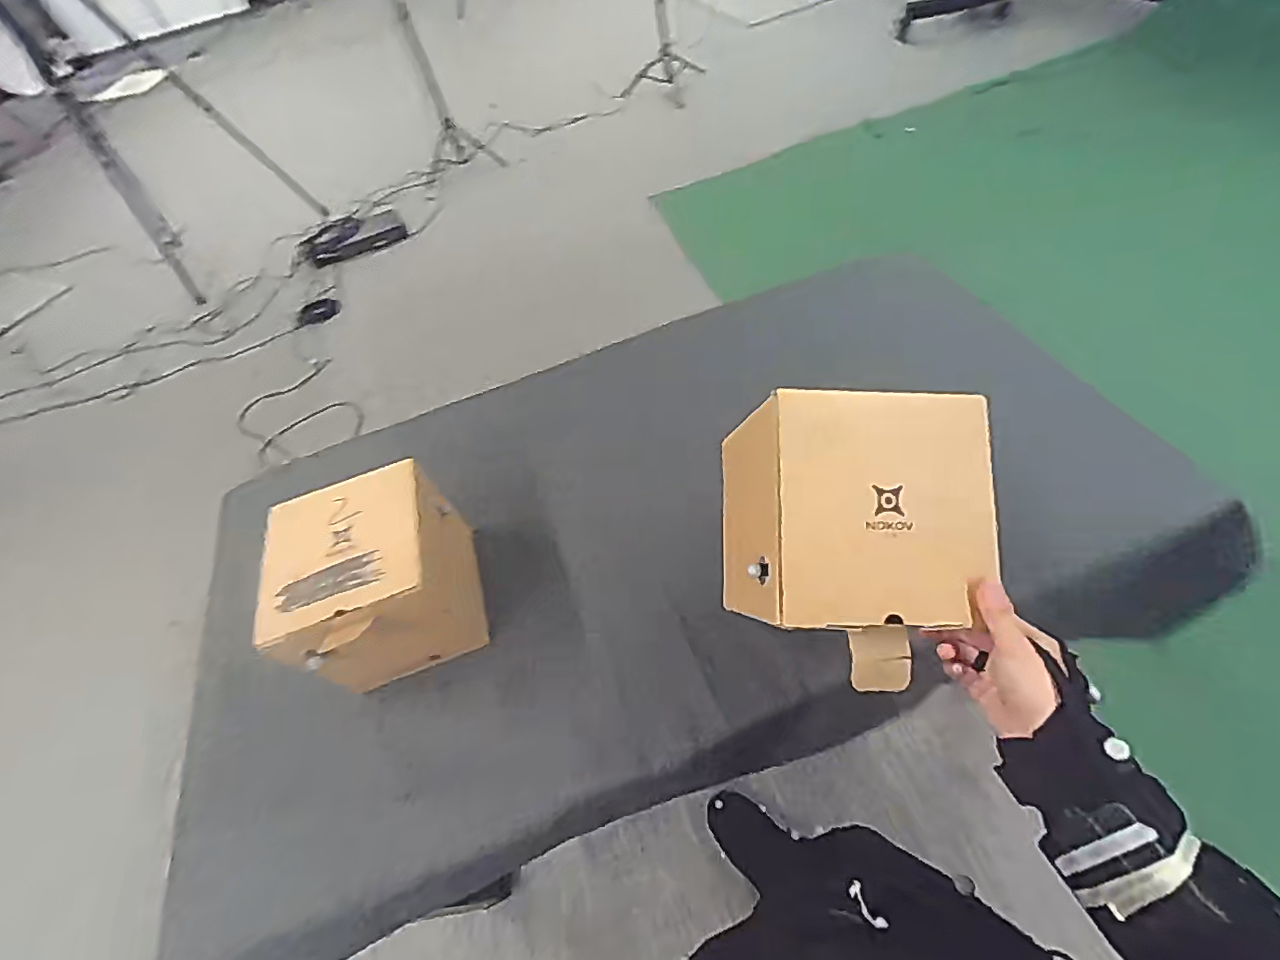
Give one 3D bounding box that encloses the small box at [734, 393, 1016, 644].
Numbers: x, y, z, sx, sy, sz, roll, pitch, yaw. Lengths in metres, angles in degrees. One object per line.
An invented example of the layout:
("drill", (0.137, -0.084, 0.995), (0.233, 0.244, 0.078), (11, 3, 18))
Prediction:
("small box", (0.182, 0.037, 0.466), (0.168, 0.176, 0.179), (3, 83, -4))
